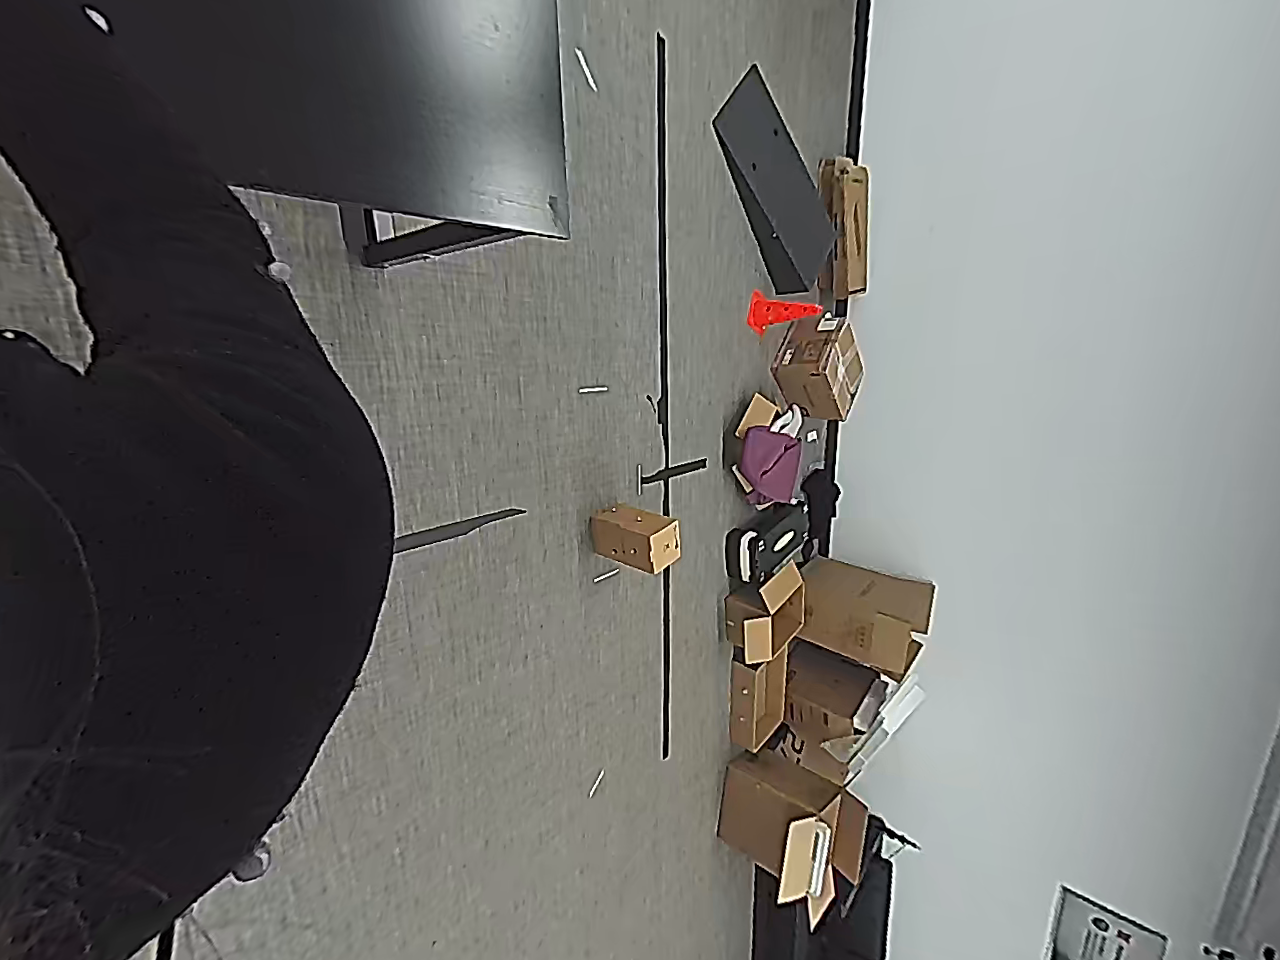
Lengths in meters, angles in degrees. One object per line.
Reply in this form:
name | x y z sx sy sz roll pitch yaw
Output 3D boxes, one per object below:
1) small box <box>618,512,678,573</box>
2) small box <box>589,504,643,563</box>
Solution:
small box | 0.025 0.240 2.122 0.179 0.176 0.168 -25 118 -43
small box | -0.094 0.215 2.232 0.168 0.176 0.179 -24 117 -45
